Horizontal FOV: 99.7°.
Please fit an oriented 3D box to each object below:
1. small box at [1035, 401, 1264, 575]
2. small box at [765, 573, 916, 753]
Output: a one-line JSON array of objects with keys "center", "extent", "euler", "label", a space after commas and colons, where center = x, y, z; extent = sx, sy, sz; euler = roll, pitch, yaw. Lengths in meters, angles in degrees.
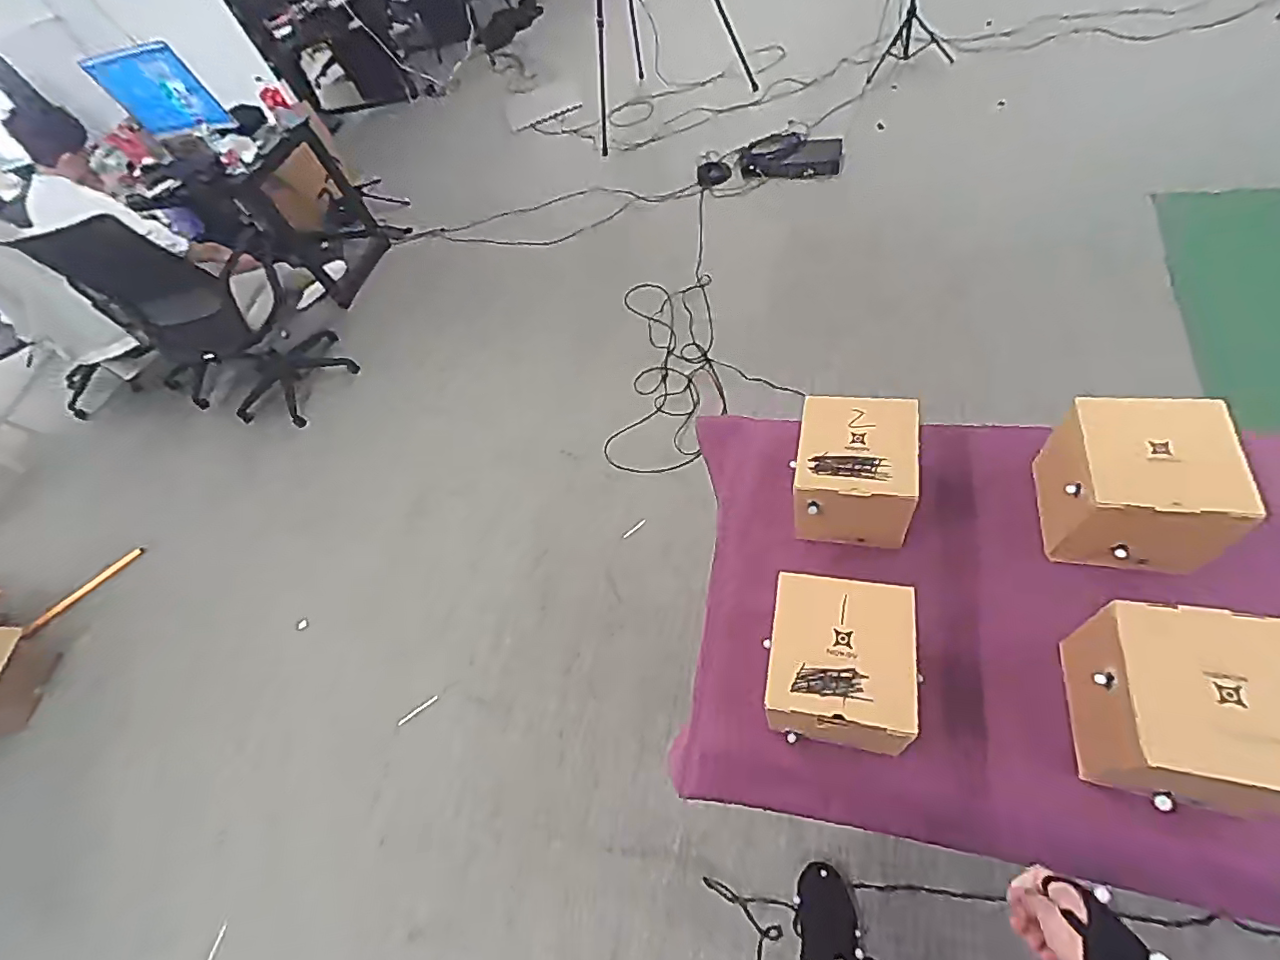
[{"center": [0.682, 0.012, 0.755], "extent": [0.168, 0.176, 0.179], "euler": [4, 60, 18], "label": "small box"}, {"center": [0.262, 0.245, 0.716], "extent": [0.168, 0.176, 0.179], "euler": [5, 58, 18], "label": "small box"}]
